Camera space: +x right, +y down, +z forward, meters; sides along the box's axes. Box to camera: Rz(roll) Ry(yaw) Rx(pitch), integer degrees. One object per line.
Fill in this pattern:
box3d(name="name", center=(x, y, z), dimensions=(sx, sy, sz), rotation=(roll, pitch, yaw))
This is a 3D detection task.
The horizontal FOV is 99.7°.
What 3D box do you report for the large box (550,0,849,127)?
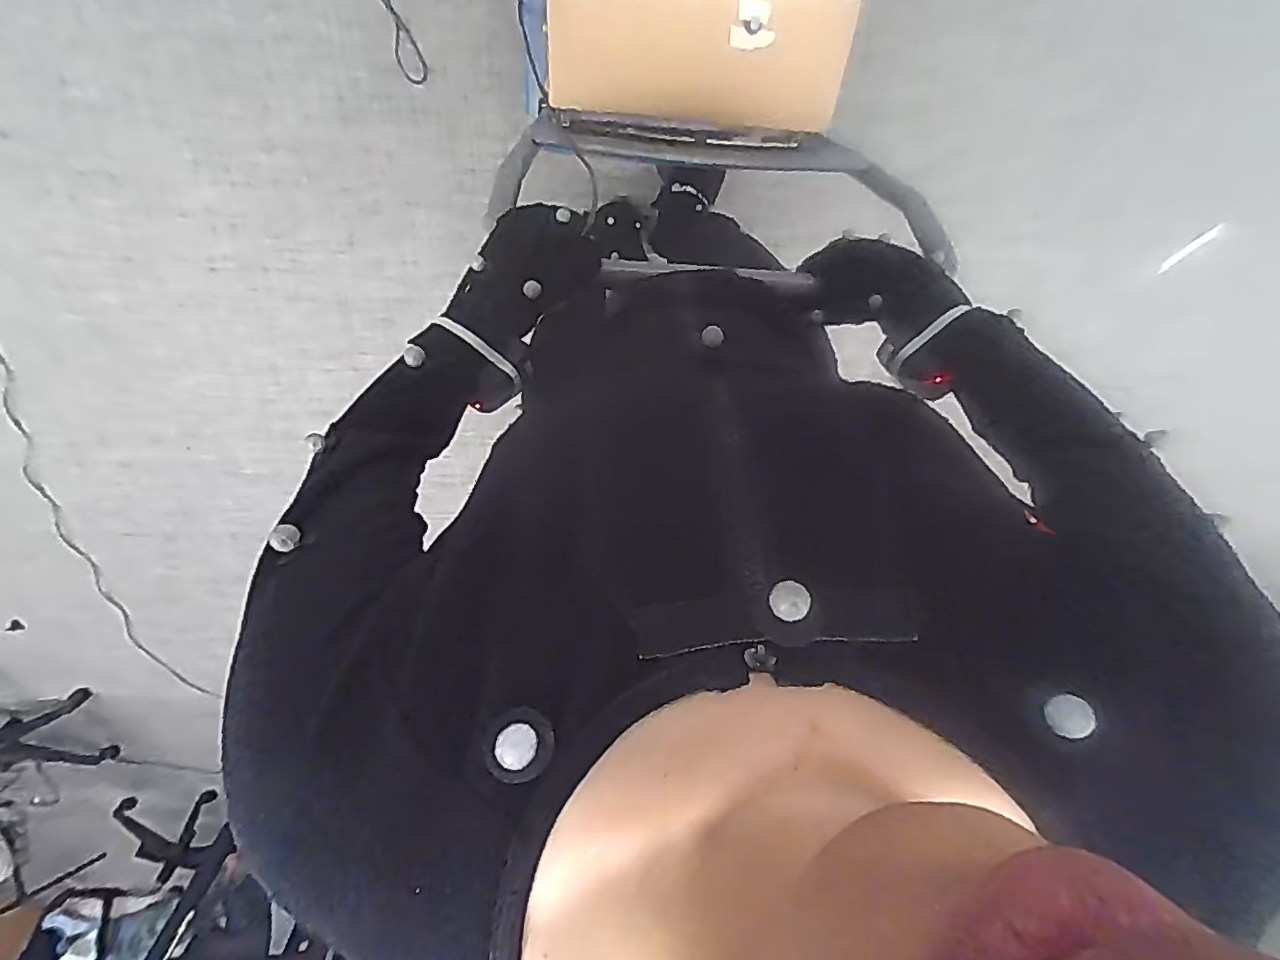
box3d(name="large box", center=(0.073, -0.738, 0.815), dimensions=(0.408, 0.320, 0.320), rotation=(2, 128, -5))
